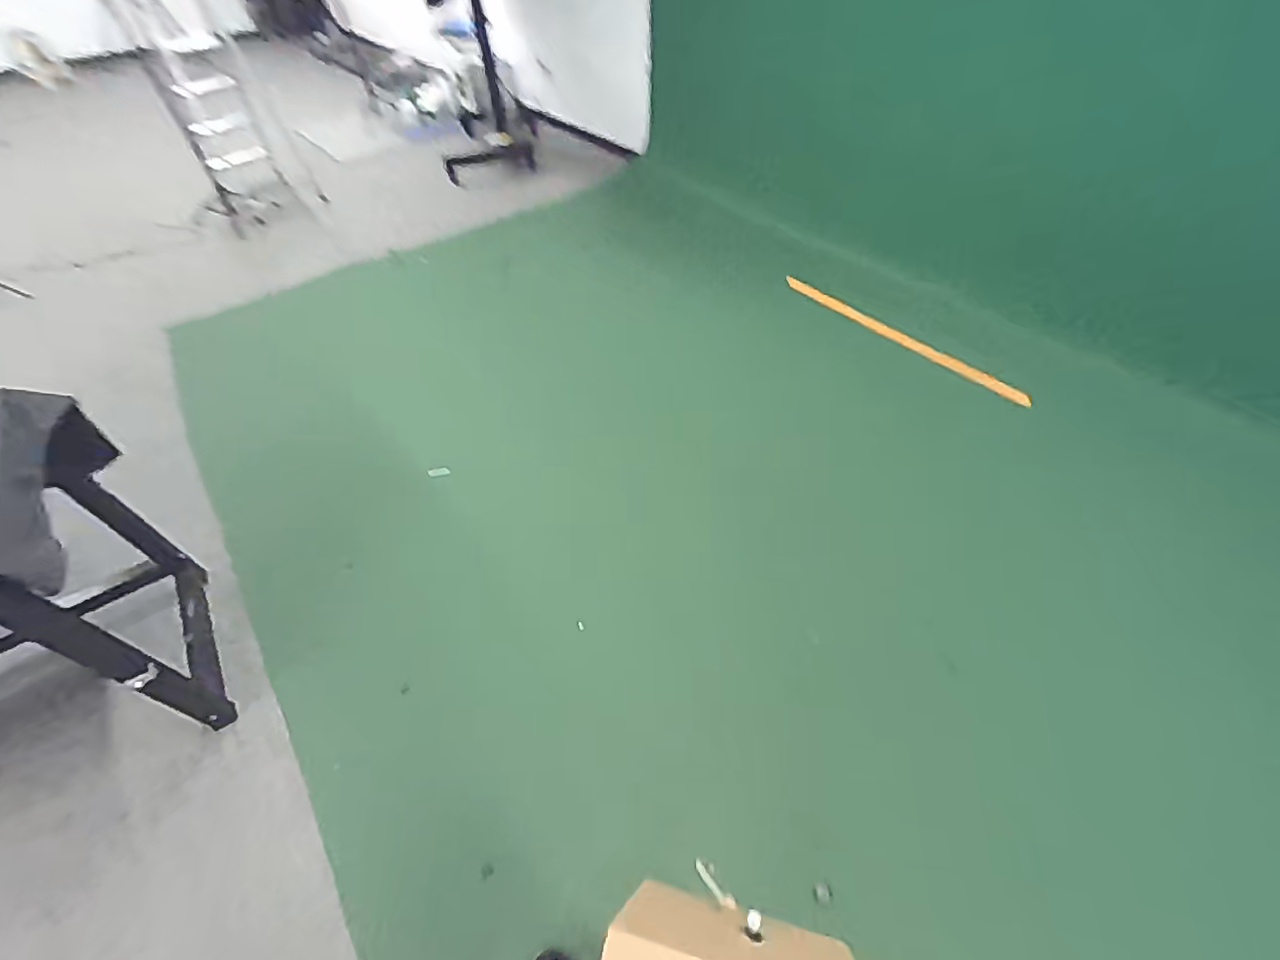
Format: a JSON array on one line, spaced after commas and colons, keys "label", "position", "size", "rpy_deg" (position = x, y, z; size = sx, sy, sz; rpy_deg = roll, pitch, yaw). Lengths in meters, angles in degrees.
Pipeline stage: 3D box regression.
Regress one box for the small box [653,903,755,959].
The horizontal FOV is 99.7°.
[{"label": "small box", "position": [0.125, 0.935, 1.008], "size": [0.179, 0.176, 0.168], "rpy_deg": [-29, 54, -20]}]
